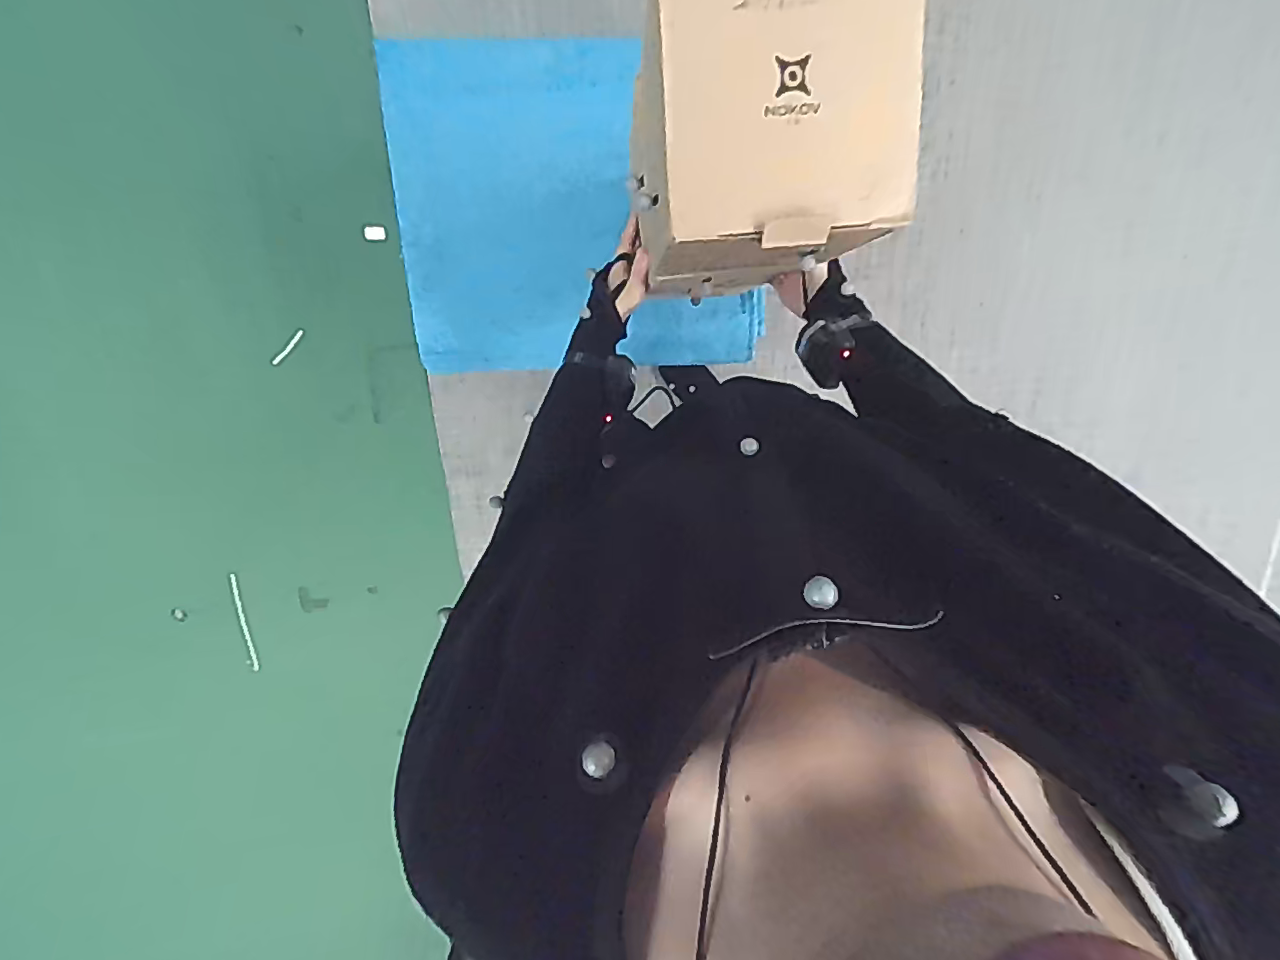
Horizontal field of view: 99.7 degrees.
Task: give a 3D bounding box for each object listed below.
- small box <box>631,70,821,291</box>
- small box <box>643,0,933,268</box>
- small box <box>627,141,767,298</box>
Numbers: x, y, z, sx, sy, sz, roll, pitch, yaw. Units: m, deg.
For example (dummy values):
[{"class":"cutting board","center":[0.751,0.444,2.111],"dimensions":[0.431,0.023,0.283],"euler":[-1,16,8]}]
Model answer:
[{"class":"small box","center":[0.081,-0.299,0.566],"dimensions":[0.168,0.176,0.179],"euler":[-7,103,-1]},{"class":"small box","center":[0.092,-0.263,0.407],"dimensions":[0.168,0.176,0.179],"euler":[-5,103,-2]},{"class":"small box","center":[0.070,-0.340,0.724],"dimensions":[0.168,0.176,0.179],"euler":[-4,105,-3]}]
